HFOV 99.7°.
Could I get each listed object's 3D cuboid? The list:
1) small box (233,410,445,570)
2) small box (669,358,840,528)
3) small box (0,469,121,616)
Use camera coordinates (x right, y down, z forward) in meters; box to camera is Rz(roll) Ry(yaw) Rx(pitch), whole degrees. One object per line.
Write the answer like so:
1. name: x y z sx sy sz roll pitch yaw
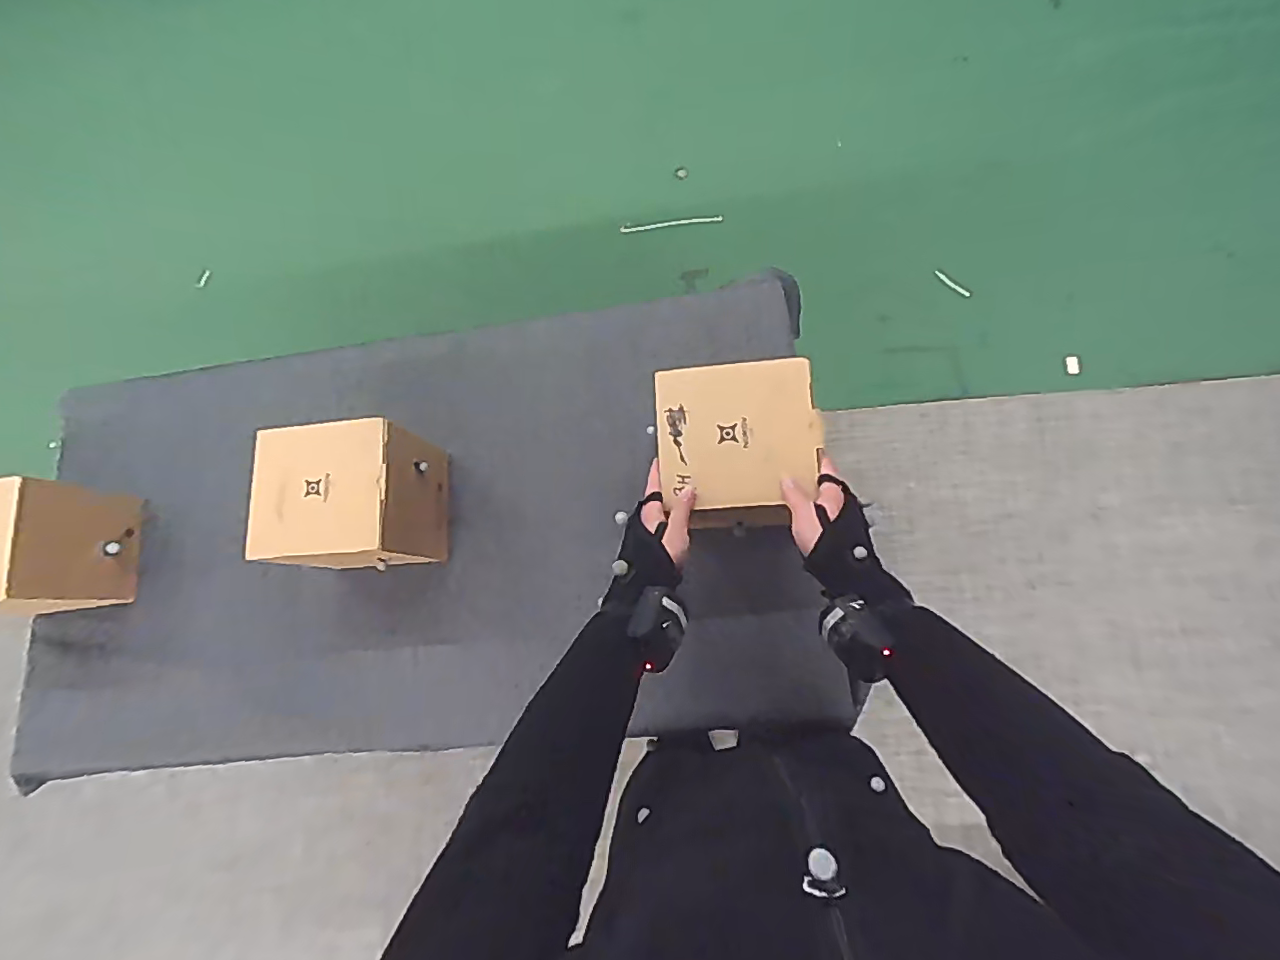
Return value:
1. small box: -0.369 0.022 0.697 0.179 0.176 0.168 -6 75 5
2. small box: 0.126 -0.035 0.661 0.179 0.176 0.168 -3 76 4
3. small box: -0.867 0.092 0.724 0.179 0.176 0.168 -7 76 2
